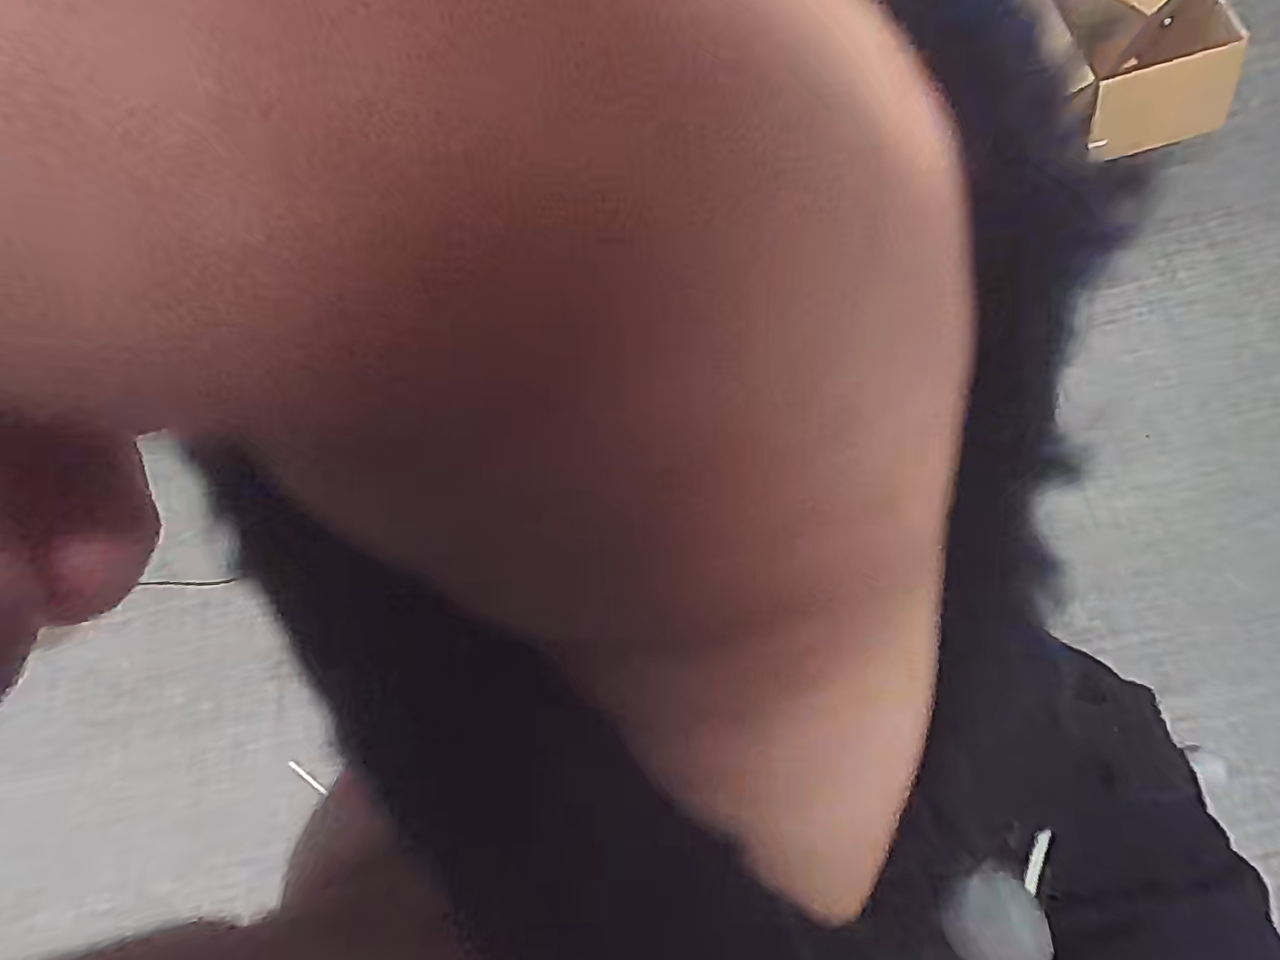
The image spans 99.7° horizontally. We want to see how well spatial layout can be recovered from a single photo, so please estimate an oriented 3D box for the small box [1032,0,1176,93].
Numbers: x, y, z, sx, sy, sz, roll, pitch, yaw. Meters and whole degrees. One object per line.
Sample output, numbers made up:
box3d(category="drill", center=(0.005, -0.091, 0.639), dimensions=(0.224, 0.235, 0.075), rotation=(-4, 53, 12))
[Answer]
box3d(category="small box", center=(1.026, -1.016, 1.191), dimensions=(0.179, 0.176, 0.168), rotation=(-40, 76, -5))
